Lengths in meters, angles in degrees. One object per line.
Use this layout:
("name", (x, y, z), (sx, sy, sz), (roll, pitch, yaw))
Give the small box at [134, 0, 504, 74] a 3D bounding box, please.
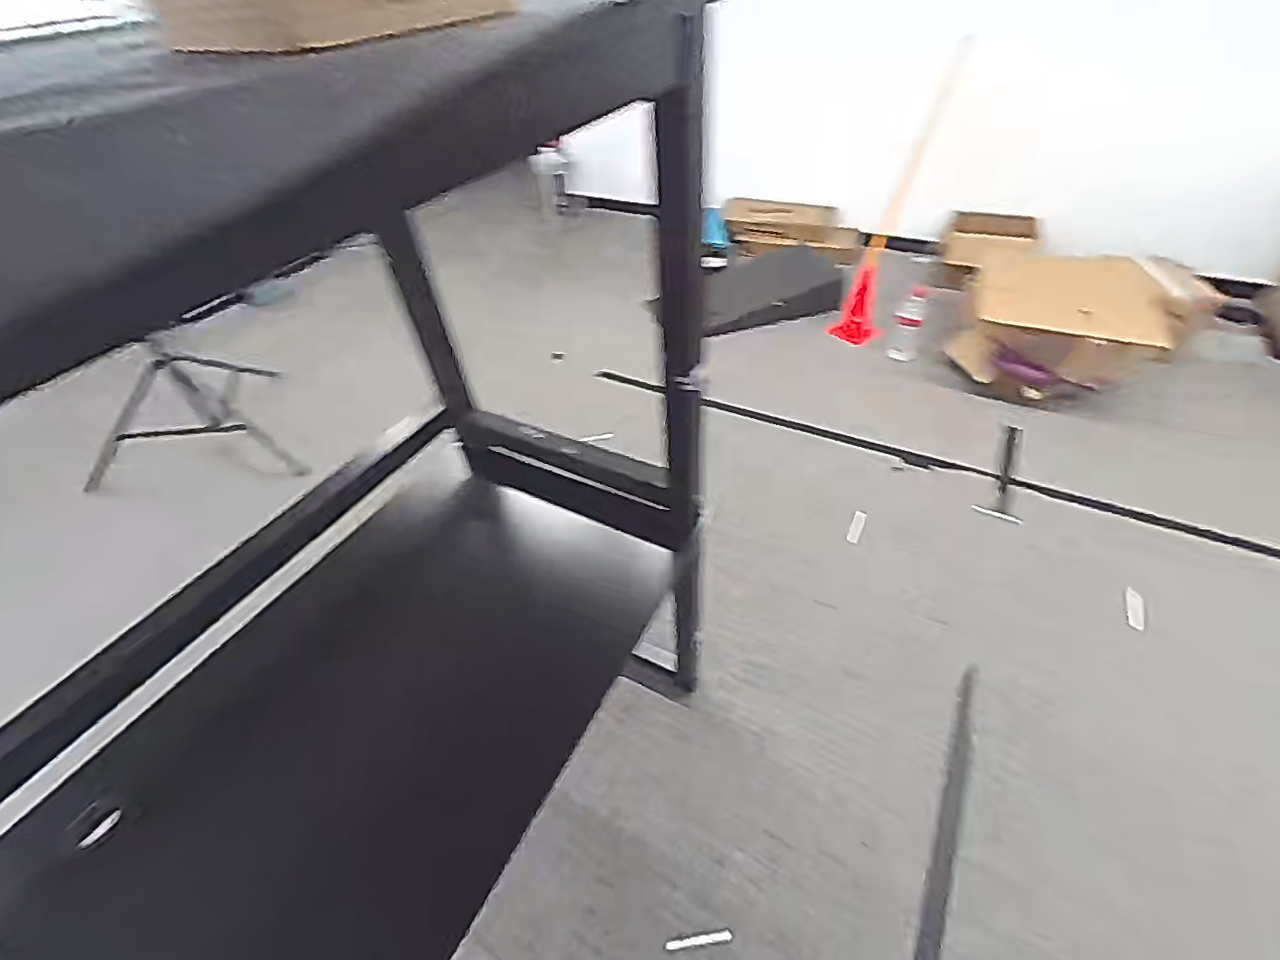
("small box", (-0.210, -0.351, 0.313), (0.179, 0.176, 0.168), (24, 52, 26))
